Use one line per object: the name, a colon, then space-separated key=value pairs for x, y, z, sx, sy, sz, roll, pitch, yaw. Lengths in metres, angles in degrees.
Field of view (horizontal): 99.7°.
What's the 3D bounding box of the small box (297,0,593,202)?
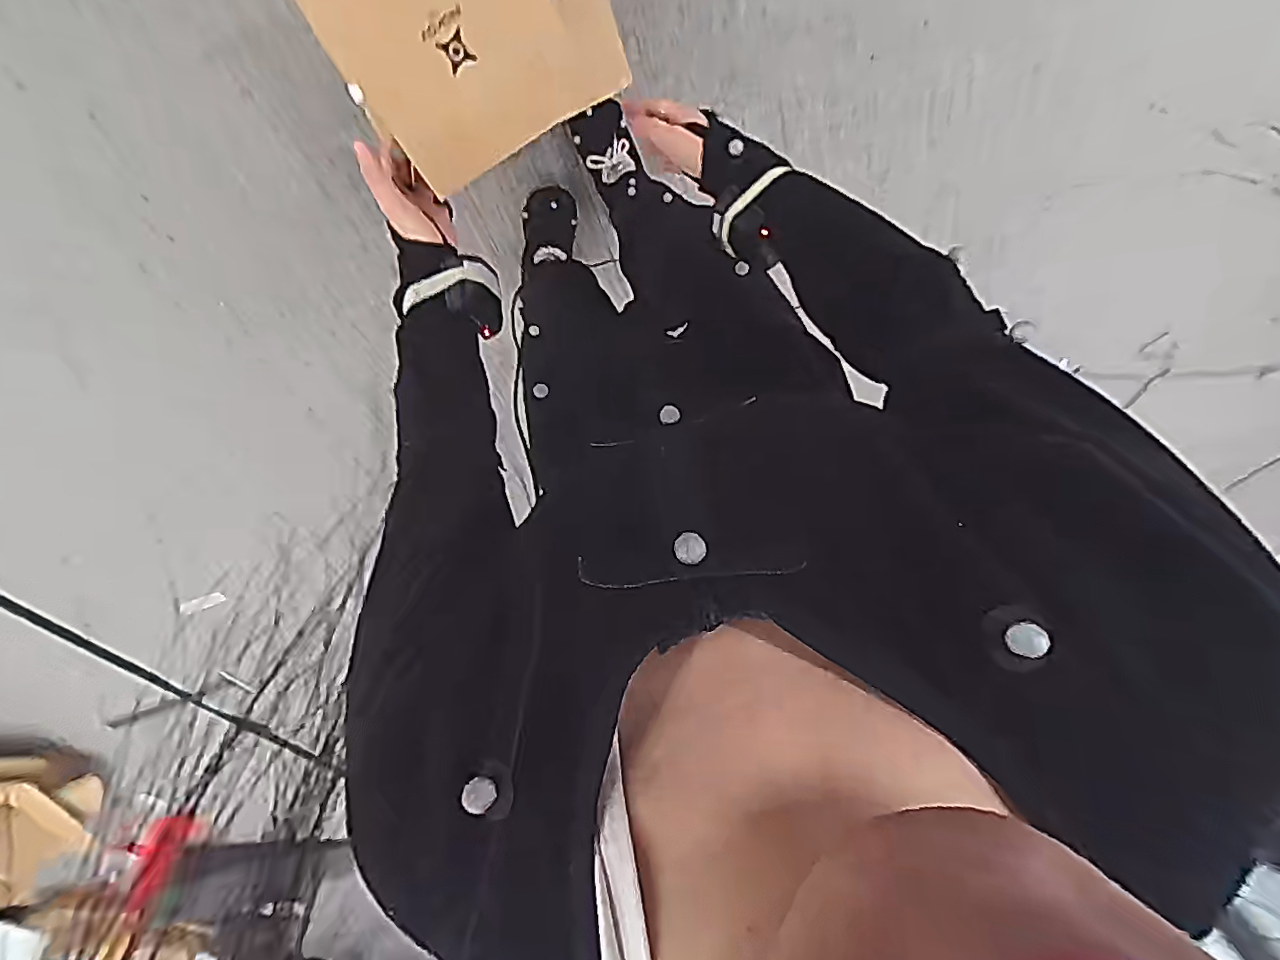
small box: x=-0.161 y=-0.390 z=0.480 sx=0.168 sy=0.176 sz=0.179 roll=-29 pitch=130 yaw=9
